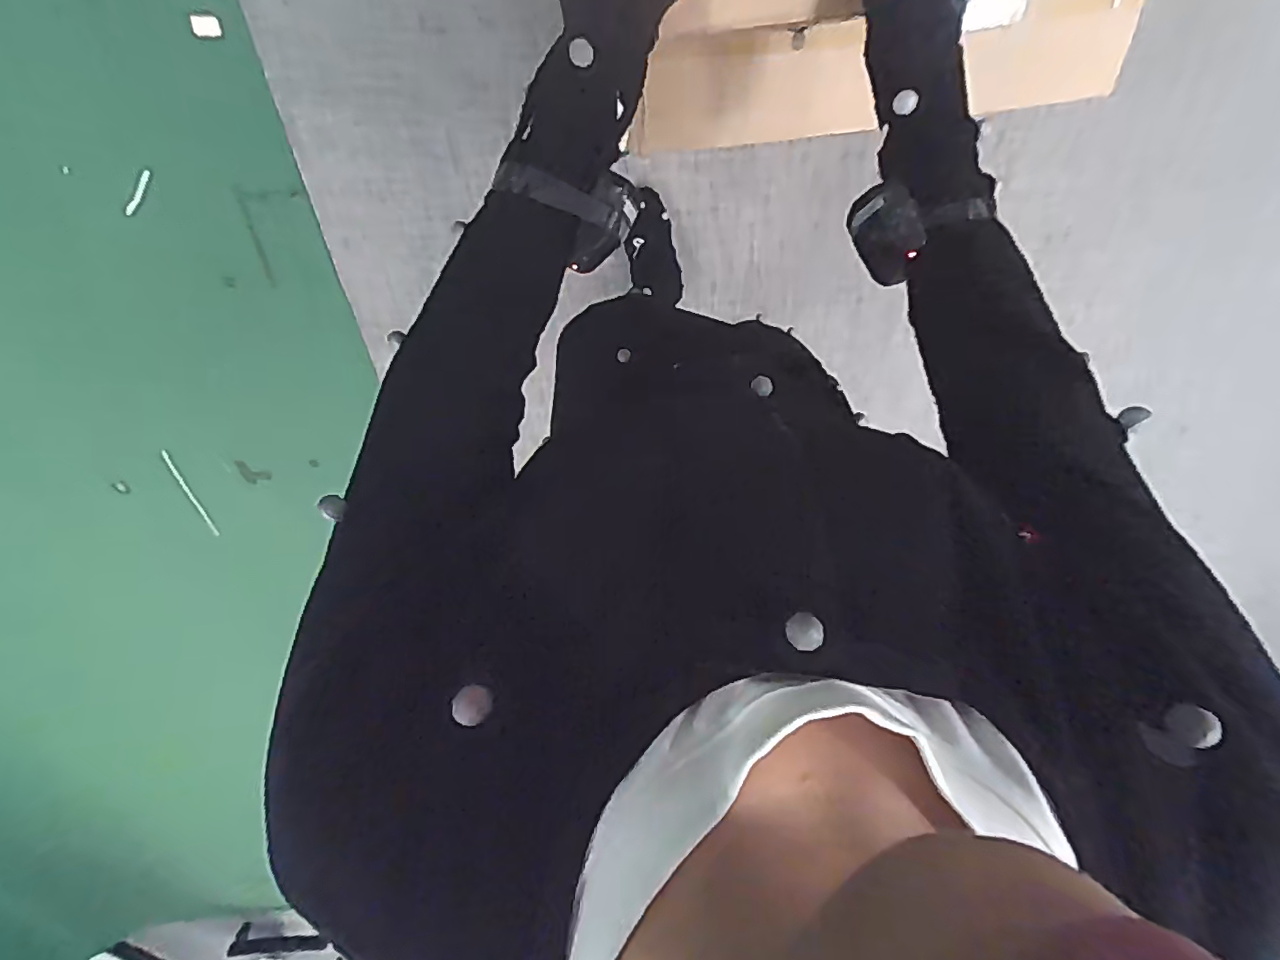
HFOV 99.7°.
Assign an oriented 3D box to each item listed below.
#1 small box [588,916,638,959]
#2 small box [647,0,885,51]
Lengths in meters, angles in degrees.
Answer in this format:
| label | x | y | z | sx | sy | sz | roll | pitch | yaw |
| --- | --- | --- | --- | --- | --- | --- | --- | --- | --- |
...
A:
| label | x | y | z | sx | sy | sz | roll | pitch | yaw |
| --- | --- | --- | --- | --- | --- | --- | --- | --- | --- |
| small box | -0.092 | 1.624 | 1.859 | 0.168 | 0.176 | 0.179 | -5 | 128 | -1 |
| small box | 0.092 | -0.465 | 0.439 | 0.179 | 0.176 | 0.168 | -6 | 126 | 3 |
